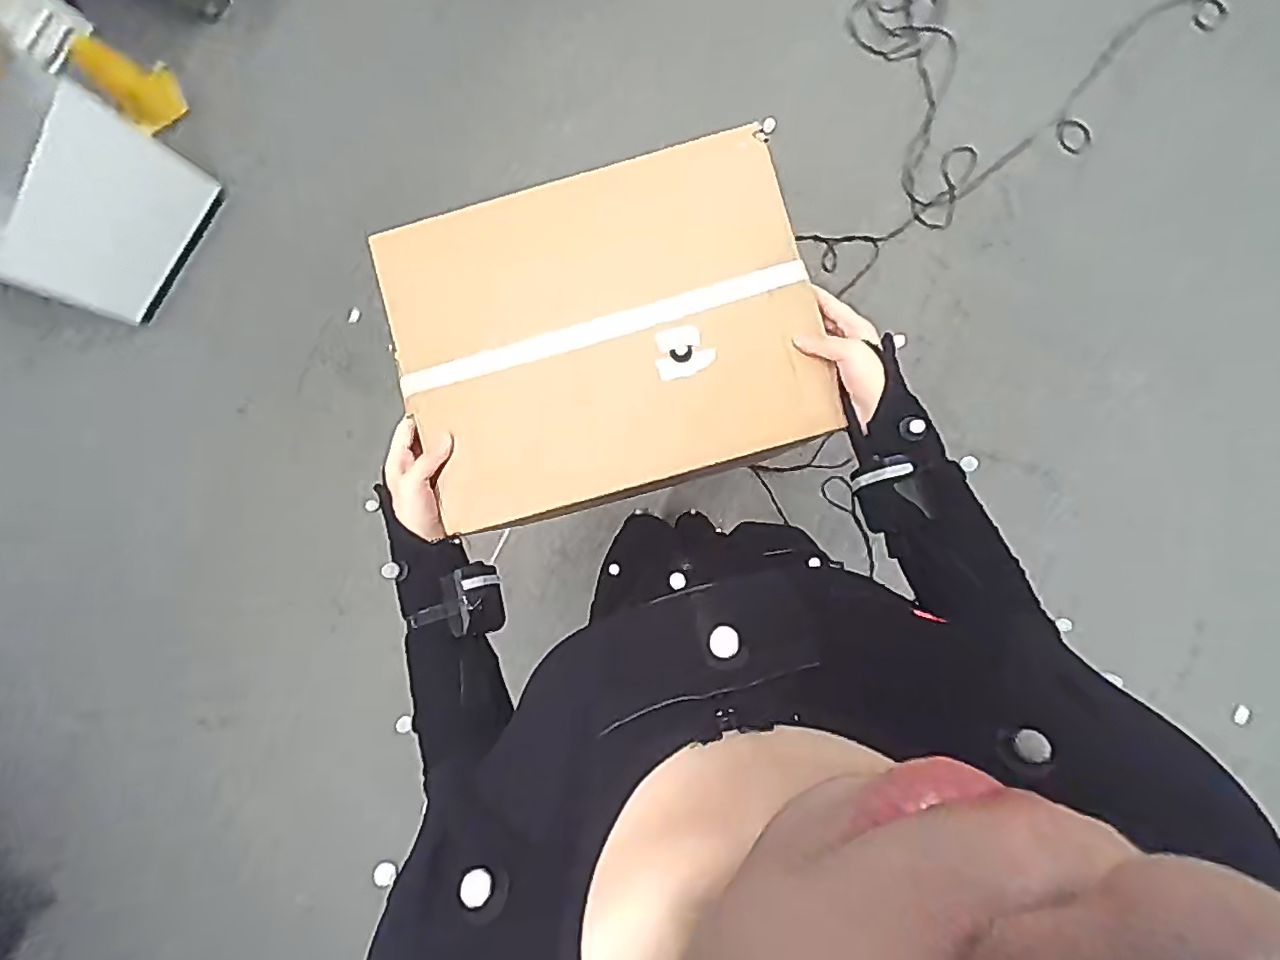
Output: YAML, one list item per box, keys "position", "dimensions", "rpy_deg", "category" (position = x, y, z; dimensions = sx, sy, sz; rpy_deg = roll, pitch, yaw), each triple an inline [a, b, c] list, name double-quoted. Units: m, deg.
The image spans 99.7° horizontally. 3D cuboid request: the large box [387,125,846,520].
- position: [-0.025, -0.149, 0.682]
  dimensions: [0.408, 0.320, 0.320]
  rpy_deg: [-15, 87, 1]
  category: "large box"
